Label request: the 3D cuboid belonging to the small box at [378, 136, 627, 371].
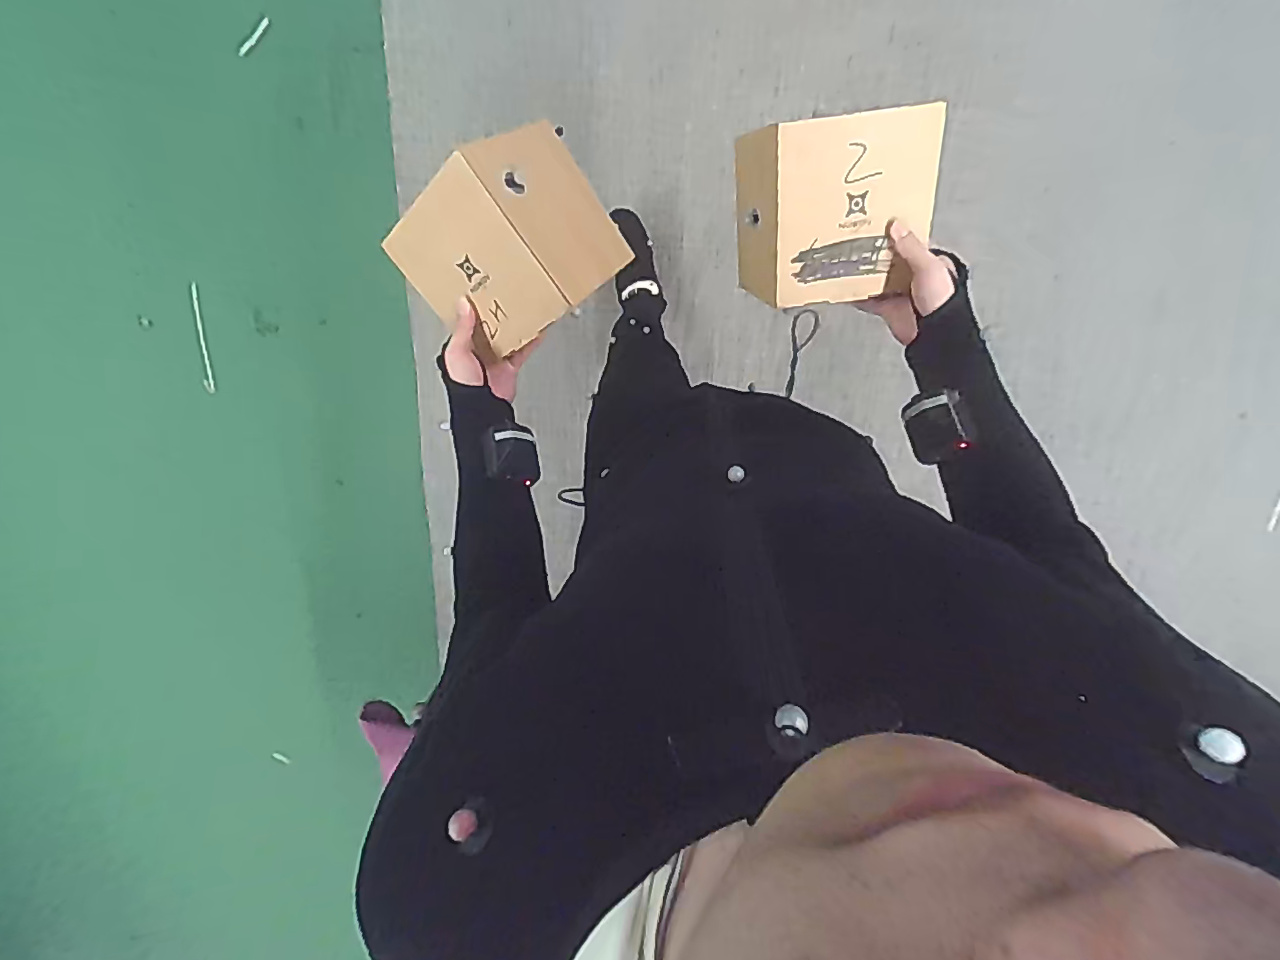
[{"bbox_3d":[-0.146,-0.261,0.618,0.168,0.176,0.179,-19,116,38],"label":"small box"}]
